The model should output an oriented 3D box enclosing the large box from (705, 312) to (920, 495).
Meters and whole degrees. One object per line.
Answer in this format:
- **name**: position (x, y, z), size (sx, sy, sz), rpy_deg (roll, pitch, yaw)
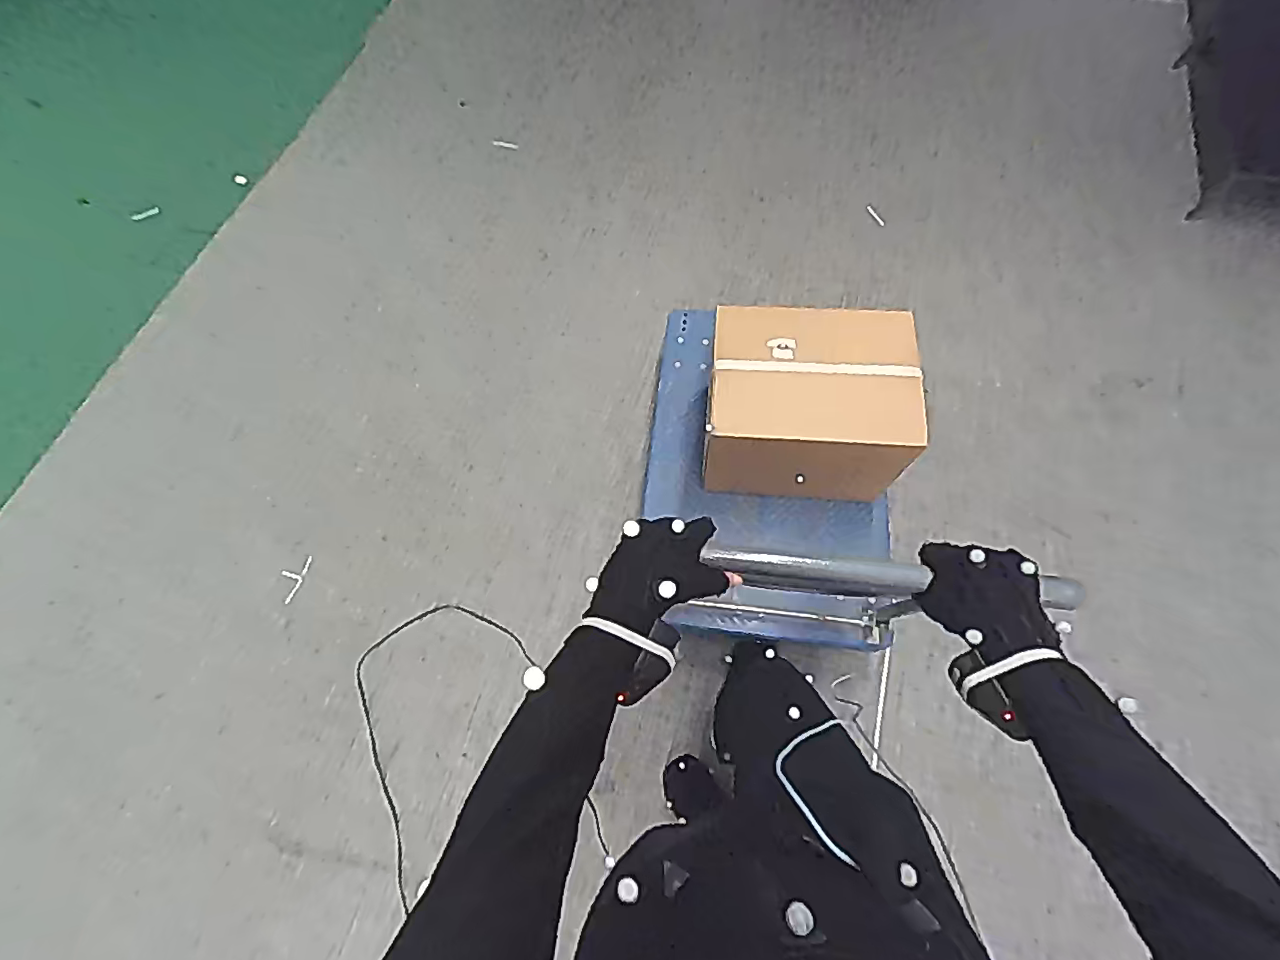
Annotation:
- **large box**: position (0.358, -0.159, 1.233), size (0.408, 0.320, 0.320), rpy_deg (2, 68, 6)
